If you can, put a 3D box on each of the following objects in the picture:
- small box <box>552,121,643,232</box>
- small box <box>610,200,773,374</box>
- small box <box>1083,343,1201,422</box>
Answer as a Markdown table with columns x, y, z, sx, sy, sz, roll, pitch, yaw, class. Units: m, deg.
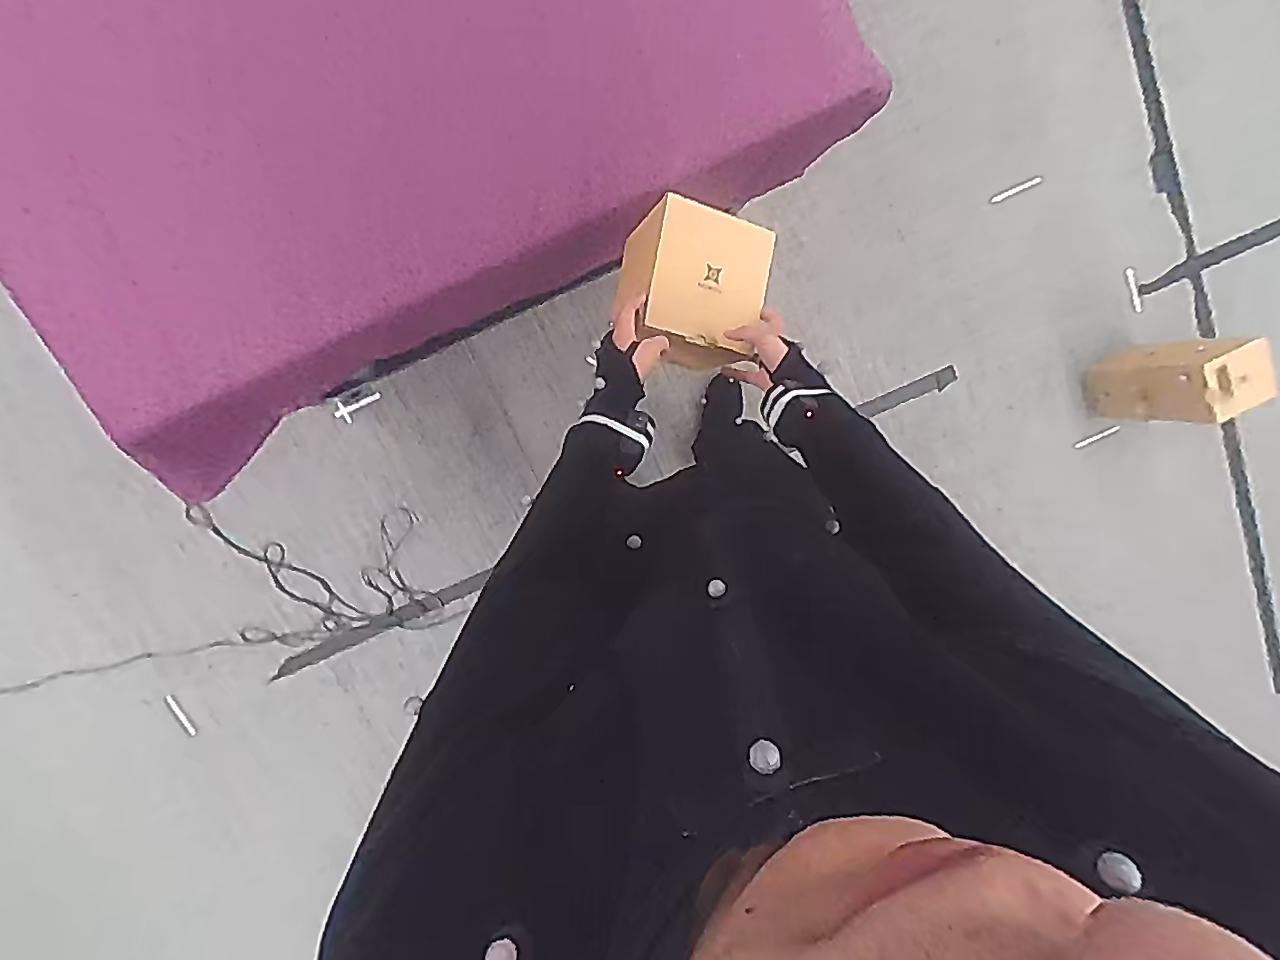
| x | y | z | sx | sy | sz | roll | pitch | yaw | class |
| --- | --- | --- | --- | --- | --- | --- | --- | --- | --- |
| -0.108 | -0.760 | 1.370 | 0.179 | 0.176 | 0.168 | -24 | 101 | 0 | small box |
| 0.066 | -0.265 | 0.790 | 0.168 | 0.176 | 0.179 | 11 | 91 | -20 | small box |
| 1.472 | -0.289 | 1.594 | 0.179 | 0.176 | 0.168 | -28 | 102 | 2 | small box |
